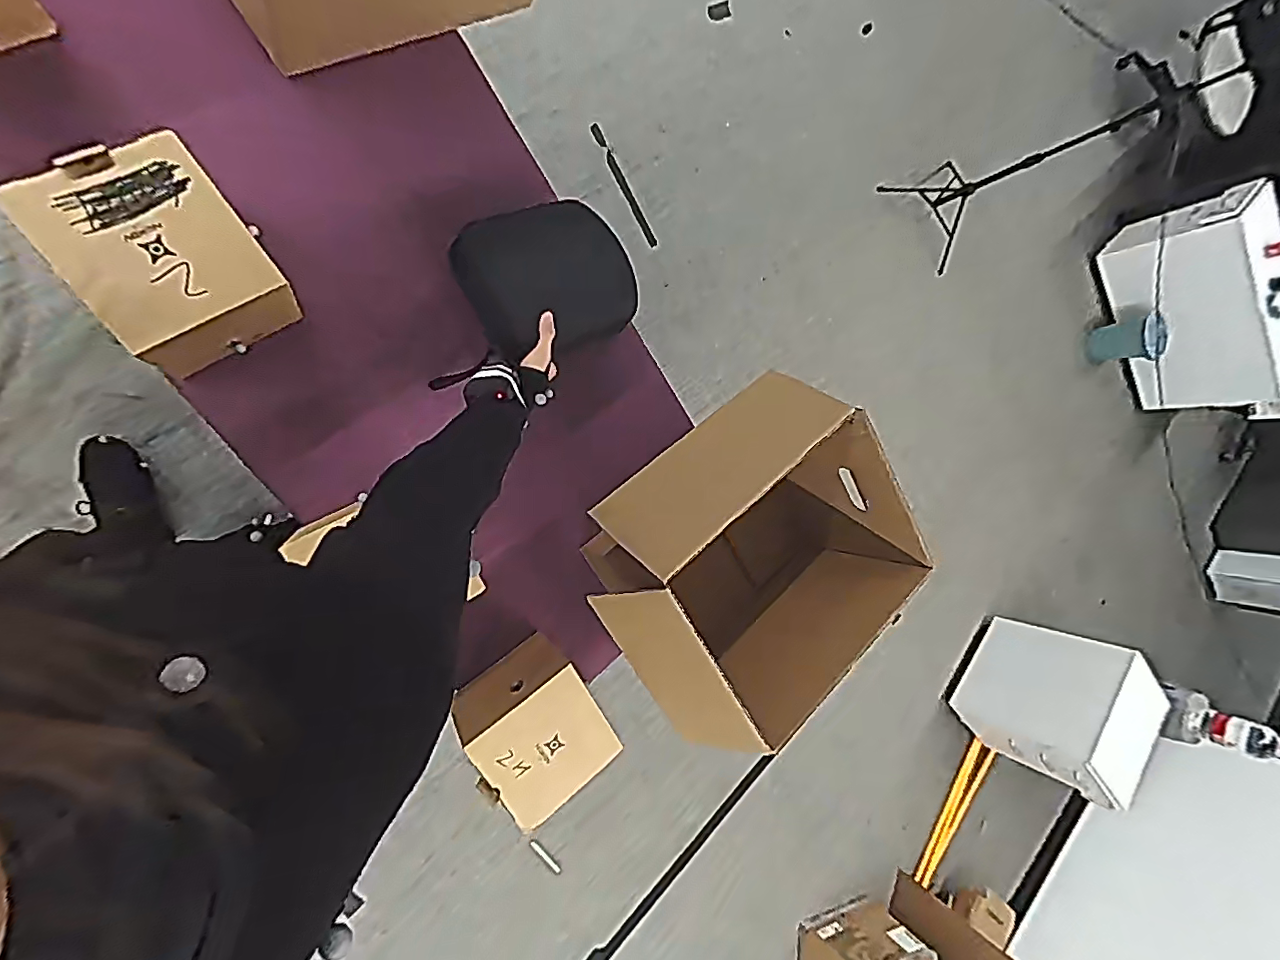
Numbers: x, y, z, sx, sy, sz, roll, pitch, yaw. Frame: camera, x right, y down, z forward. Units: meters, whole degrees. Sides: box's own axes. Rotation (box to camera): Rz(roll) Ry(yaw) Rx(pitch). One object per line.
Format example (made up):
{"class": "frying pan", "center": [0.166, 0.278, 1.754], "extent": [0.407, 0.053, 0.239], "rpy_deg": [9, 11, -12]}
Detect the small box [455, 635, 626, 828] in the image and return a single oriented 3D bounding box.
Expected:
{"class": "small box", "center": [-0.158, 0.366, 0.827], "extent": [0.179, 0.176, 0.168], "rpy_deg": [-34, 105, -22]}
